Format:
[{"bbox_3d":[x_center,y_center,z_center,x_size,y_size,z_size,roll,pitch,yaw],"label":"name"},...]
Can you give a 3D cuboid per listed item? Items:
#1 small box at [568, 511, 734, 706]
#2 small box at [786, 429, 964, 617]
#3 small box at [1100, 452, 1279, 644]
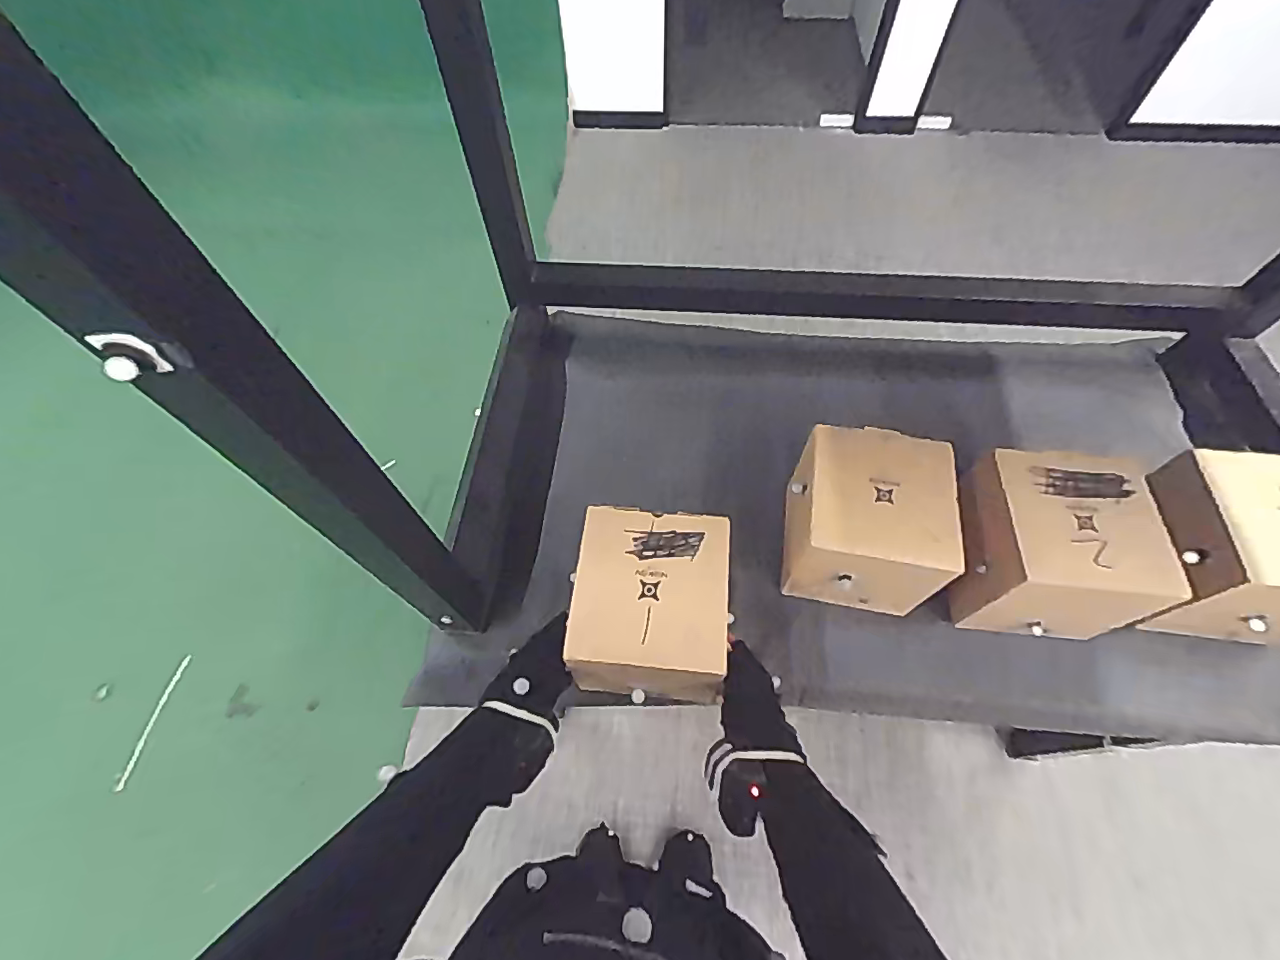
[{"bbox_3d":[0.018,0.157,0.647,0.168,0.176,0.179,4,59,4],"label":"small box"},{"bbox_3d":[0.290,0.062,0.701,0.168,0.176,0.179,9,59,7],"label":"small box"},{"bbox_3d":[0.728,0.090,0.666,0.168,0.176,0.179,6,58,5],"label":"small box"}]
